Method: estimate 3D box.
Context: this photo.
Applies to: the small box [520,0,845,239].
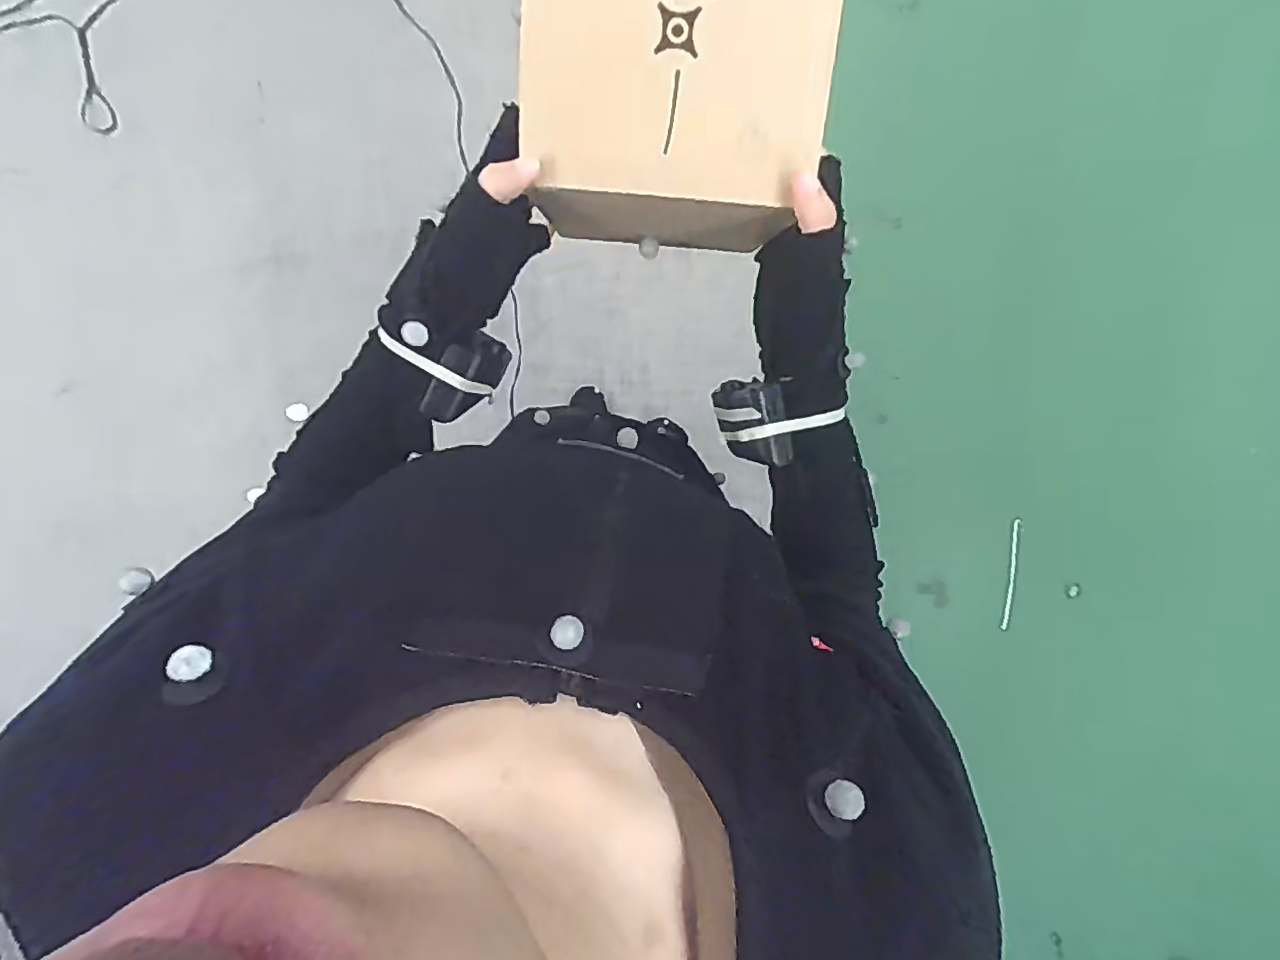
[{"bbox_3d":[0.022,-0.270,0.350,0.168,0.176,0.179,4,105,-1],"label":"small box"}]
